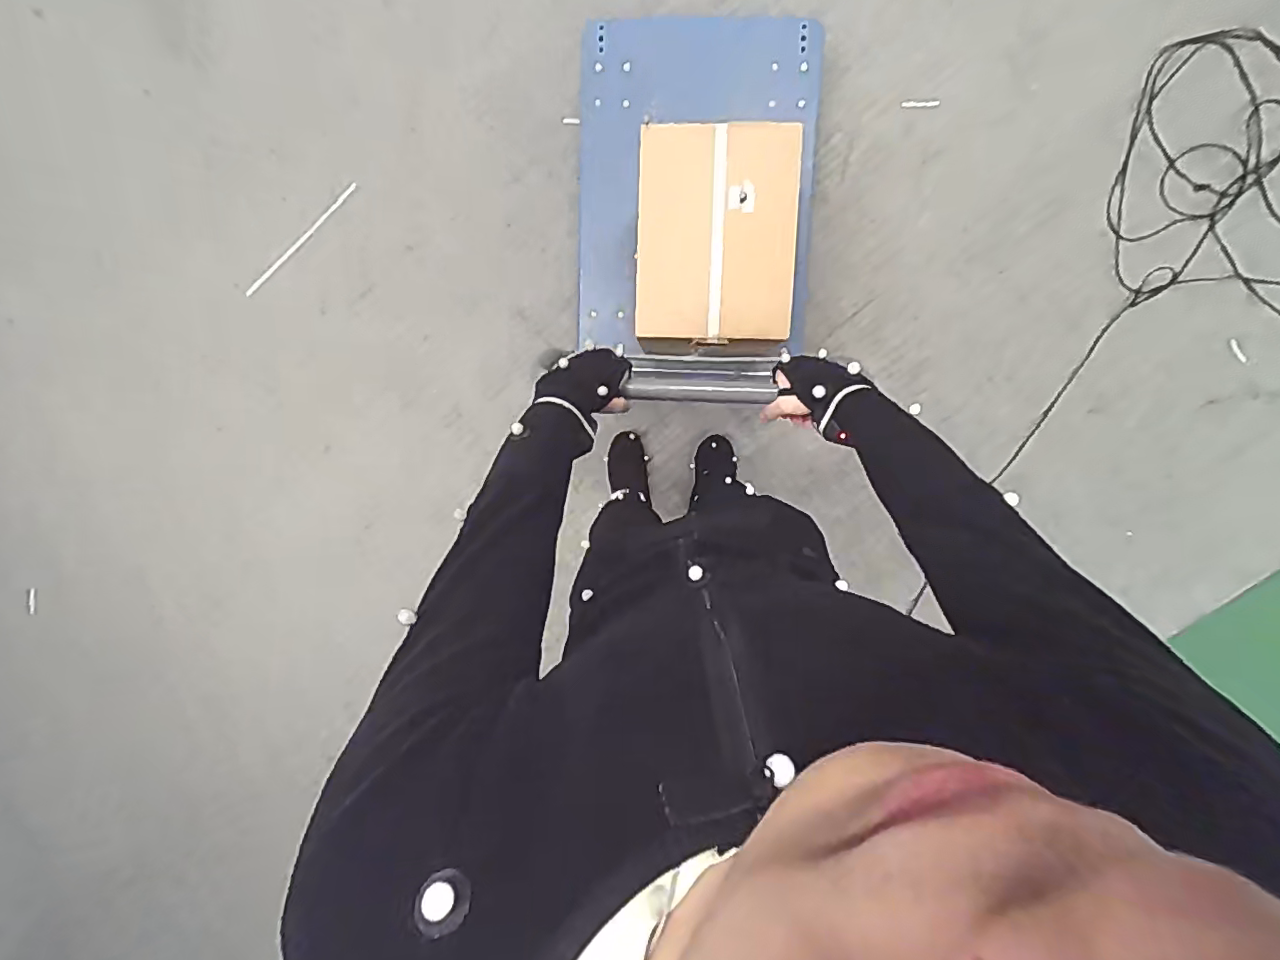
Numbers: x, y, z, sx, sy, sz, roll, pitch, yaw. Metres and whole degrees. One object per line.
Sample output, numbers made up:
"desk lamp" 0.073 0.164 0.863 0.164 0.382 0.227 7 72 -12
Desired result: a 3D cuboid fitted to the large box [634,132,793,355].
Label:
"large box" 0.156 -0.503 1.236 0.320 0.320 0.408 2 97 3
